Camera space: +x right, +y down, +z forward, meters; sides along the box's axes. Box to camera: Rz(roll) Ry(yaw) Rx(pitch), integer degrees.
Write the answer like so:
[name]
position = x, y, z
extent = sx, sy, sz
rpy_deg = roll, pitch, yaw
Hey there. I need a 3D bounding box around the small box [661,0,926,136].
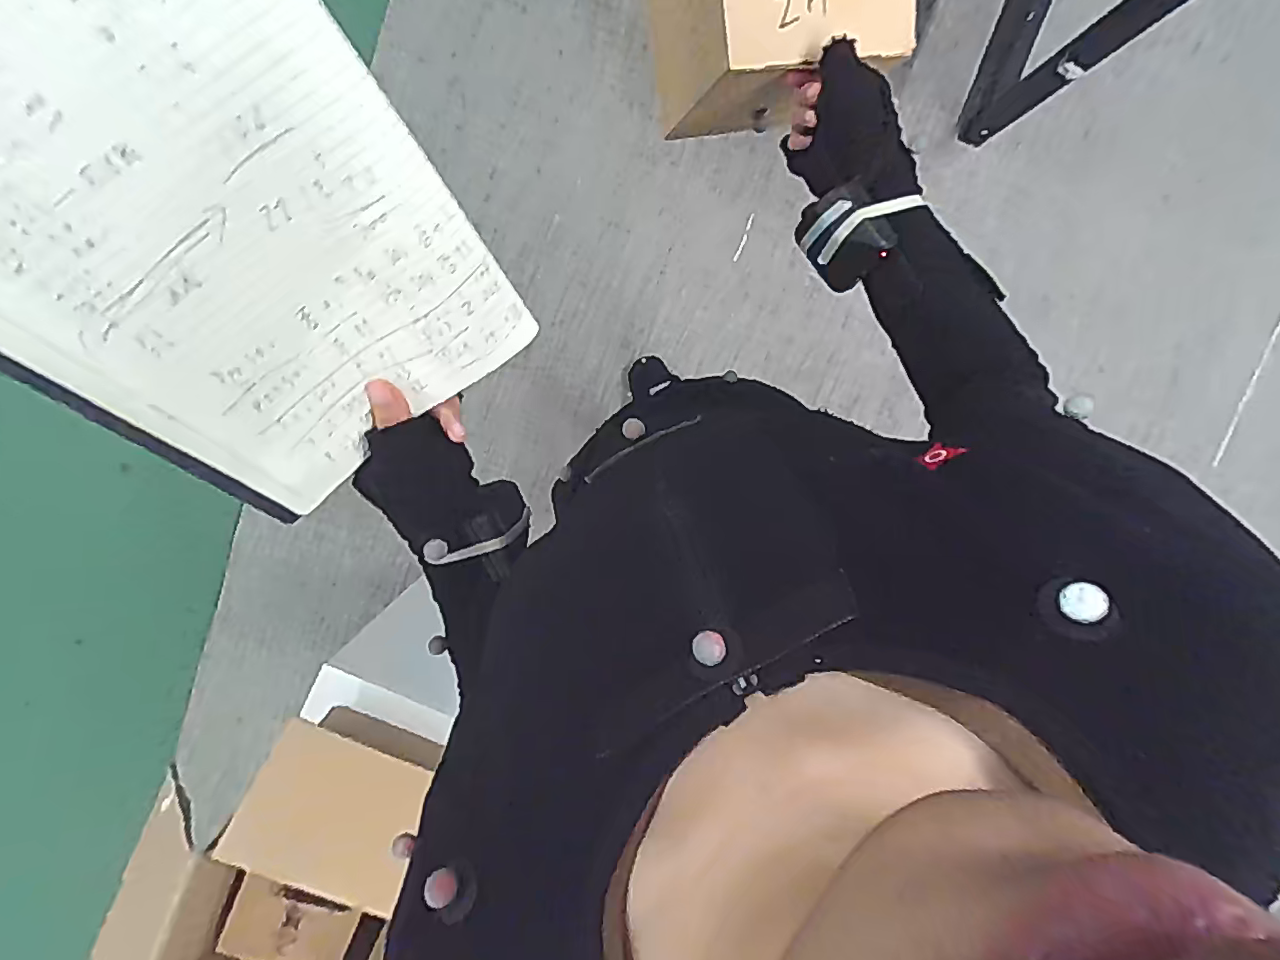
[small box]
position = 0.120, -0.431, 0.471
extent = 0.168, 0.176, 0.179
rpy_deg = -13, 109, -11
